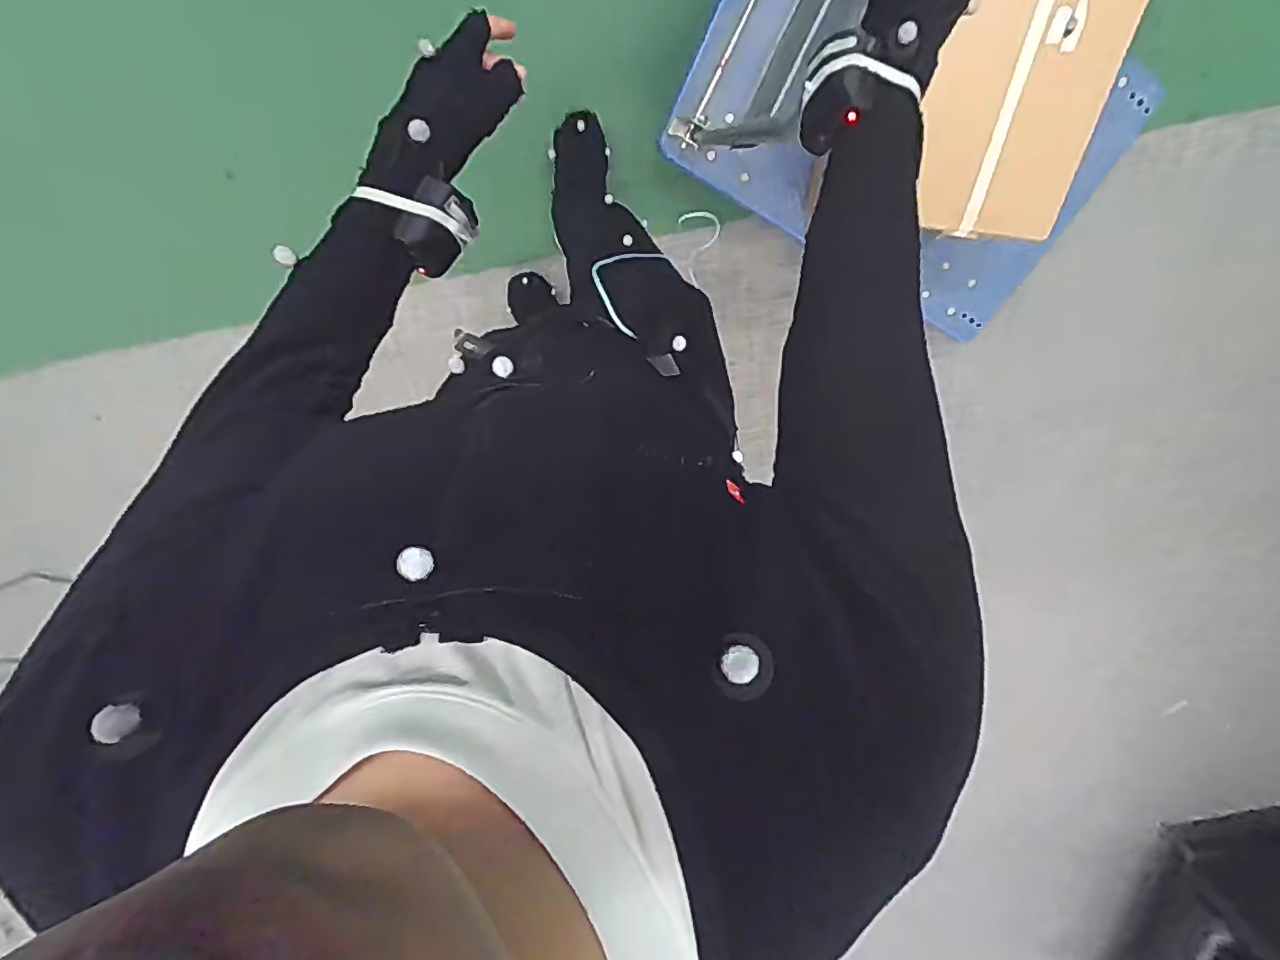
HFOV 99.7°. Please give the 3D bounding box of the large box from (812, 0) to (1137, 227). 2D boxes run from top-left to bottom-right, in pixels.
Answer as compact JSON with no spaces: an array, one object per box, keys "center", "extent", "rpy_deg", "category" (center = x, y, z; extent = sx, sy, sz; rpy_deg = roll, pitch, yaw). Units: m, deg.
[{"center":[0.528,-0.665,0.917],"extent":[0.320,0.320,0.408],"rpy_deg":[3,117,-7],"category":"large box"}]
